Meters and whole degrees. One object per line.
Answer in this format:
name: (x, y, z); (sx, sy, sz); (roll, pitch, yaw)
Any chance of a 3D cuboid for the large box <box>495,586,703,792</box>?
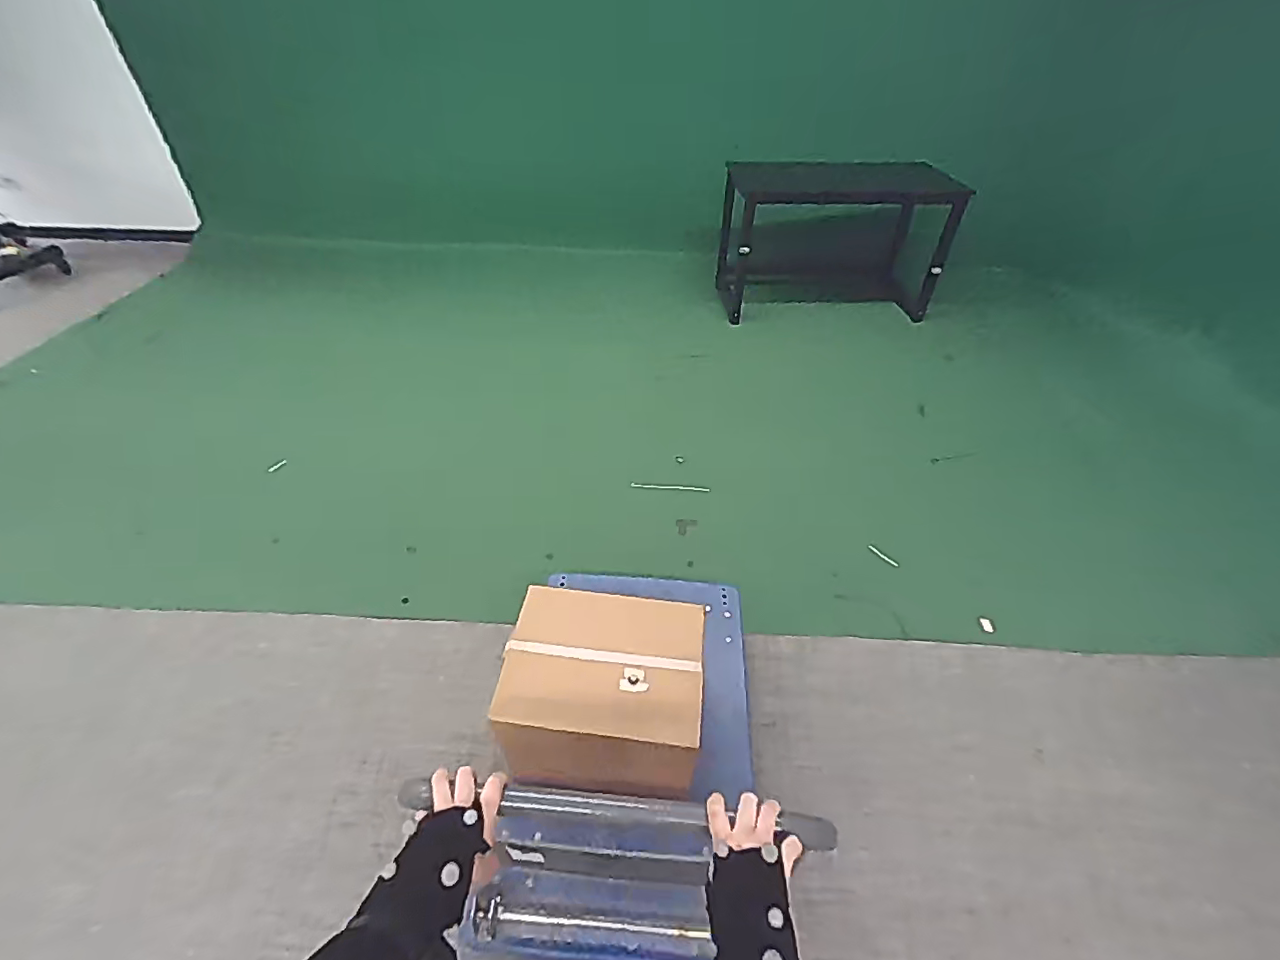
large box: (-0.077, 0.477, 1.239); (0.408, 0.320, 0.320); (6, 43, 3)
